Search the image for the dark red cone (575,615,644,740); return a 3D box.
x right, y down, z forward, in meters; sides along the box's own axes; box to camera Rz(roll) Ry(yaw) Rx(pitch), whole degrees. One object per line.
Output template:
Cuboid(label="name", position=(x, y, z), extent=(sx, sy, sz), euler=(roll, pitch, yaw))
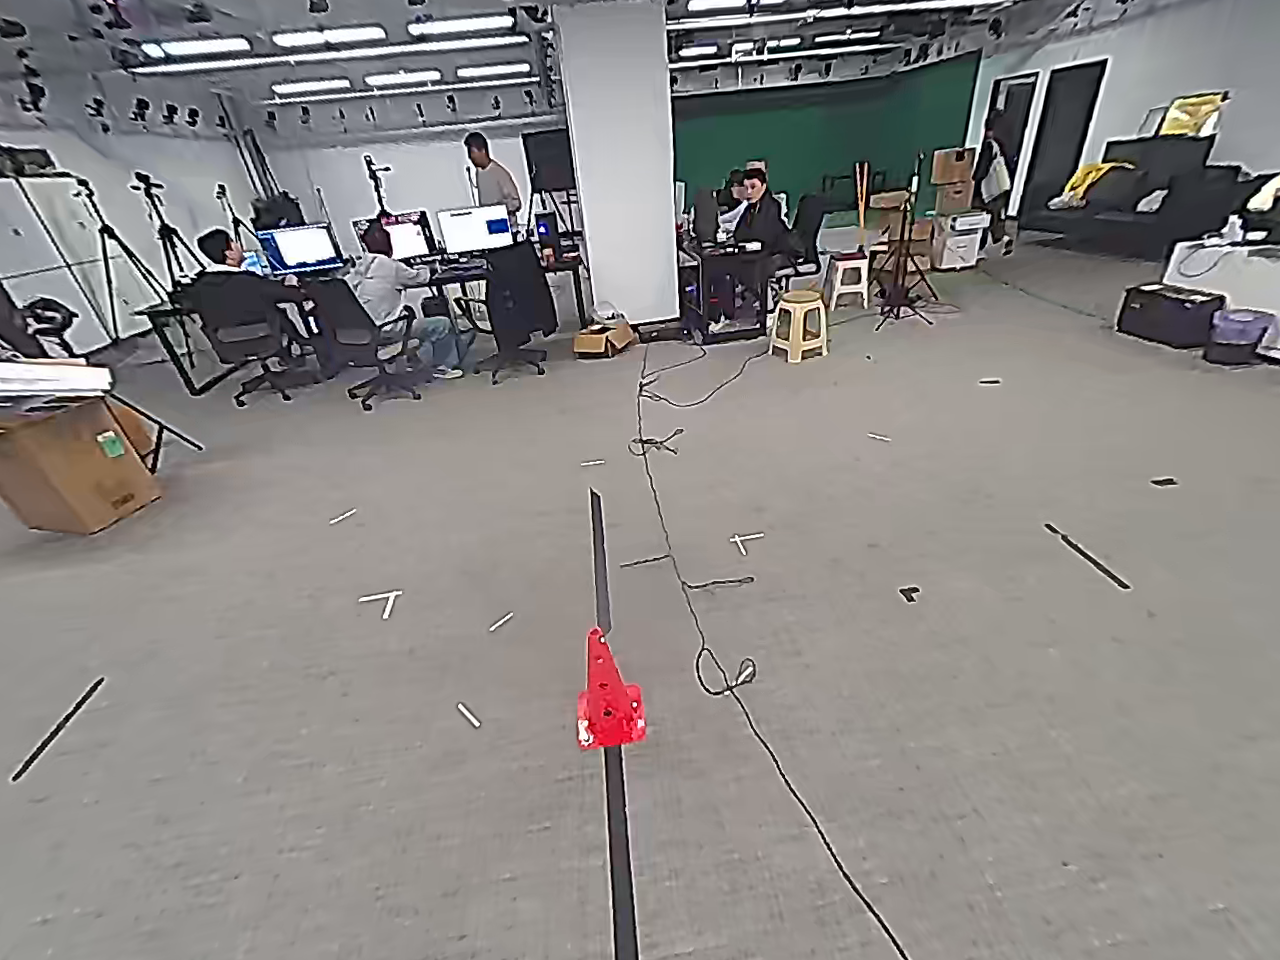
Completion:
Cuboid(label="dark red cone", position=(-0.107, 0.548, 1.553), extent=(0.201, 0.394, 0.202), euler=(-7, 30, -4))
